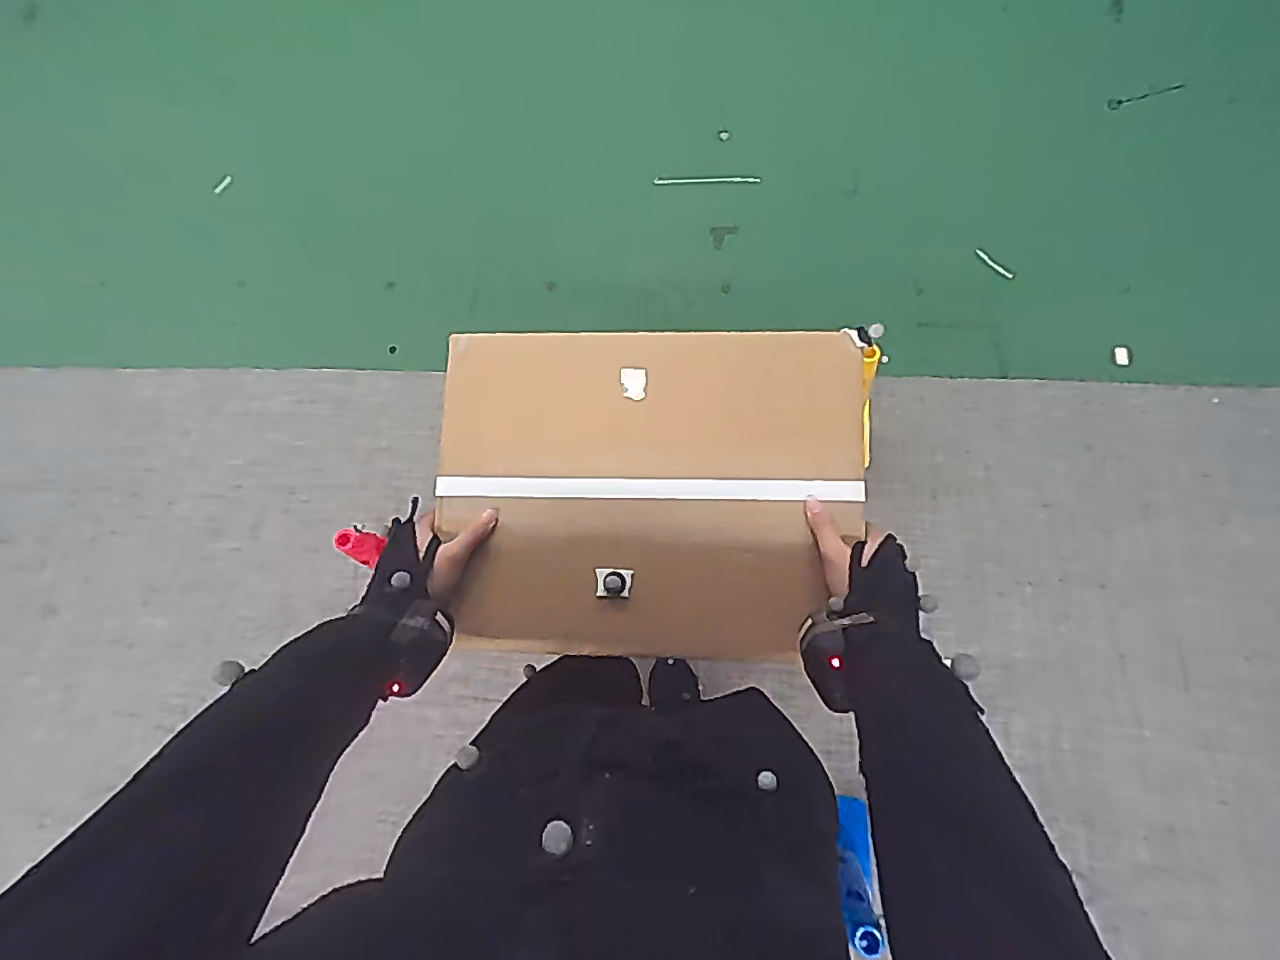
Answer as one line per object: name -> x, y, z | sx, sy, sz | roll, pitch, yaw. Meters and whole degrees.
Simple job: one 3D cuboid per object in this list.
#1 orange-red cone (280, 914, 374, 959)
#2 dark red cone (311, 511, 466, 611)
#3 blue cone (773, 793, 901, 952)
orange-red cone -> -0.655, 0.938, 0.897 | 0.199, 0.360, 0.198 | 21, 74, 15
dark red cone -> -0.534, 0.145, 1.130 | 0.202, 0.394, 0.201 | -5, 68, 5
blue cone -> 0.335, 0.659, 0.886 | 0.192, 0.380, 0.193 | 3, 72, 8
